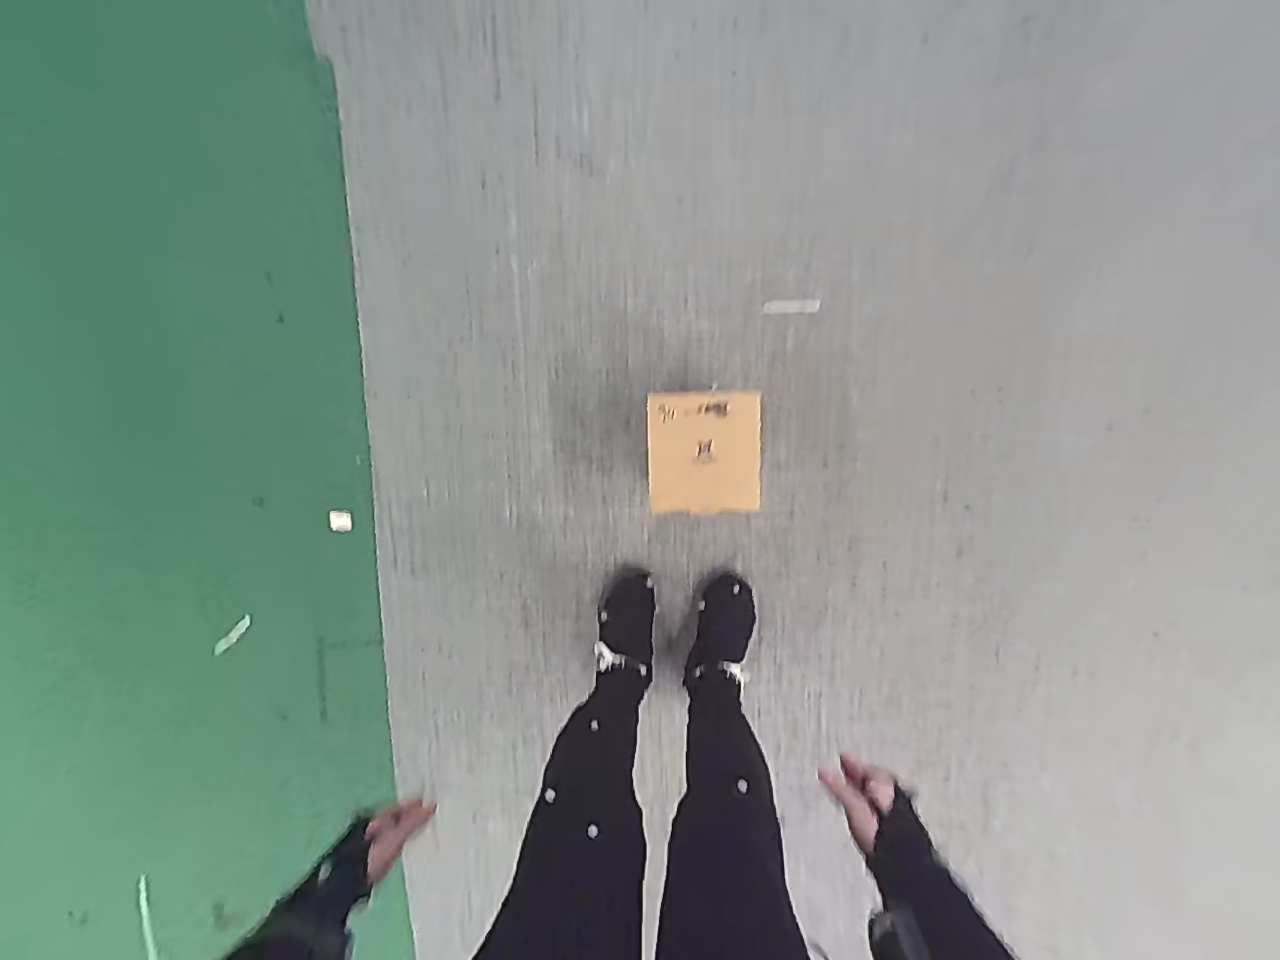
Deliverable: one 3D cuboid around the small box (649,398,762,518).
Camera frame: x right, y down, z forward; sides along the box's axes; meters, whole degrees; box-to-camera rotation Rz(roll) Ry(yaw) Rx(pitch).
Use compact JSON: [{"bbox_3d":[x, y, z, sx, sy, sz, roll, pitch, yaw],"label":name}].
[{"bbox_3d":[0.101,-0.042,0.876,0.168,0.176,0.179,-2,98,2],"label":"small box"}]
